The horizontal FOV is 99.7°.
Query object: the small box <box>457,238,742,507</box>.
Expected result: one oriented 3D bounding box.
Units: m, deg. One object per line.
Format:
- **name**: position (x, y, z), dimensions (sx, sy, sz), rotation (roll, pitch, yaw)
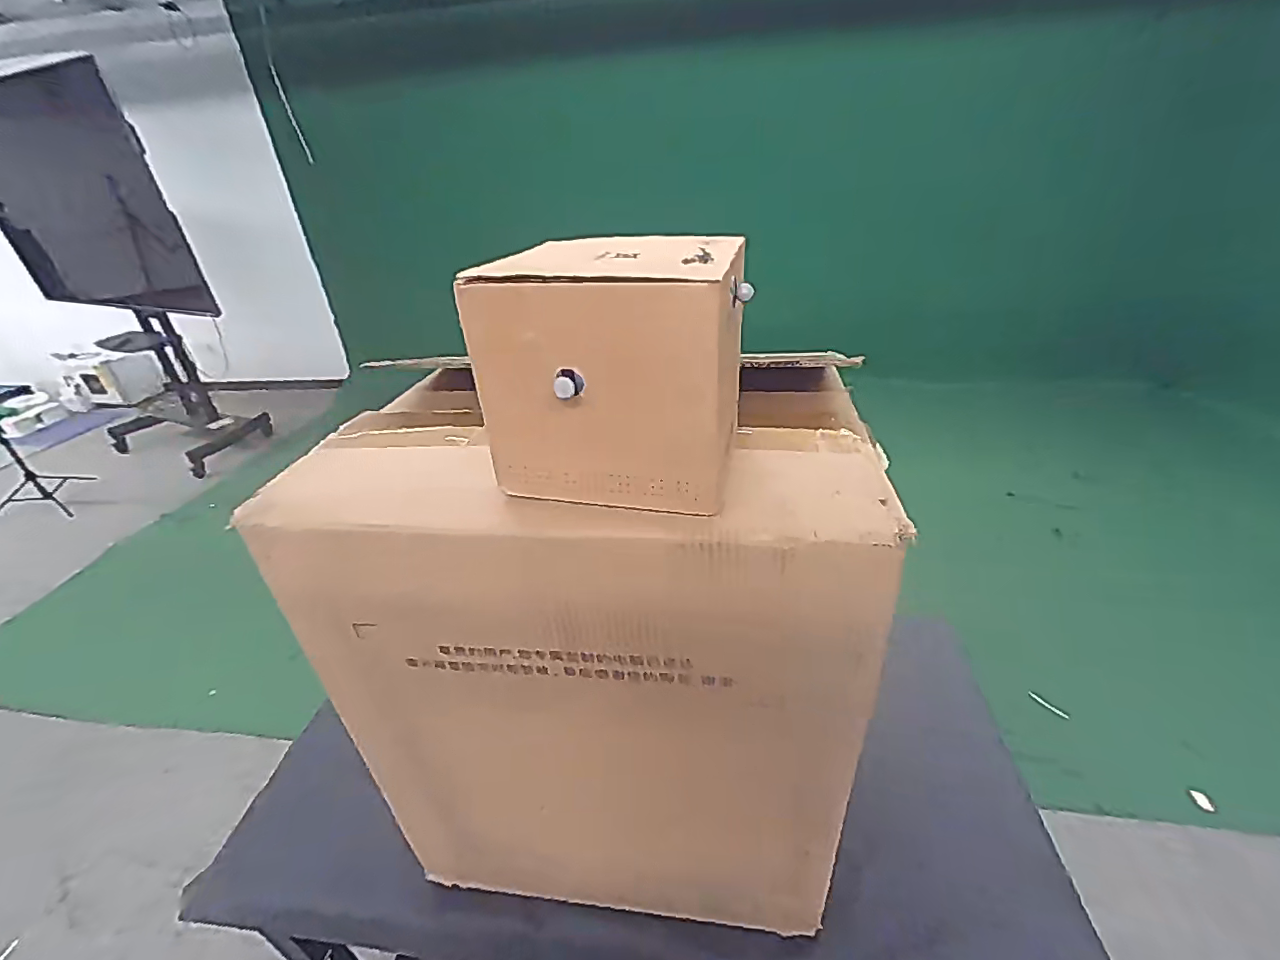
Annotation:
- **small box**: position (-0.014, -0.093, 0.441), dimensions (0.179, 0.176, 0.168), rotation (5, 33, 14)
